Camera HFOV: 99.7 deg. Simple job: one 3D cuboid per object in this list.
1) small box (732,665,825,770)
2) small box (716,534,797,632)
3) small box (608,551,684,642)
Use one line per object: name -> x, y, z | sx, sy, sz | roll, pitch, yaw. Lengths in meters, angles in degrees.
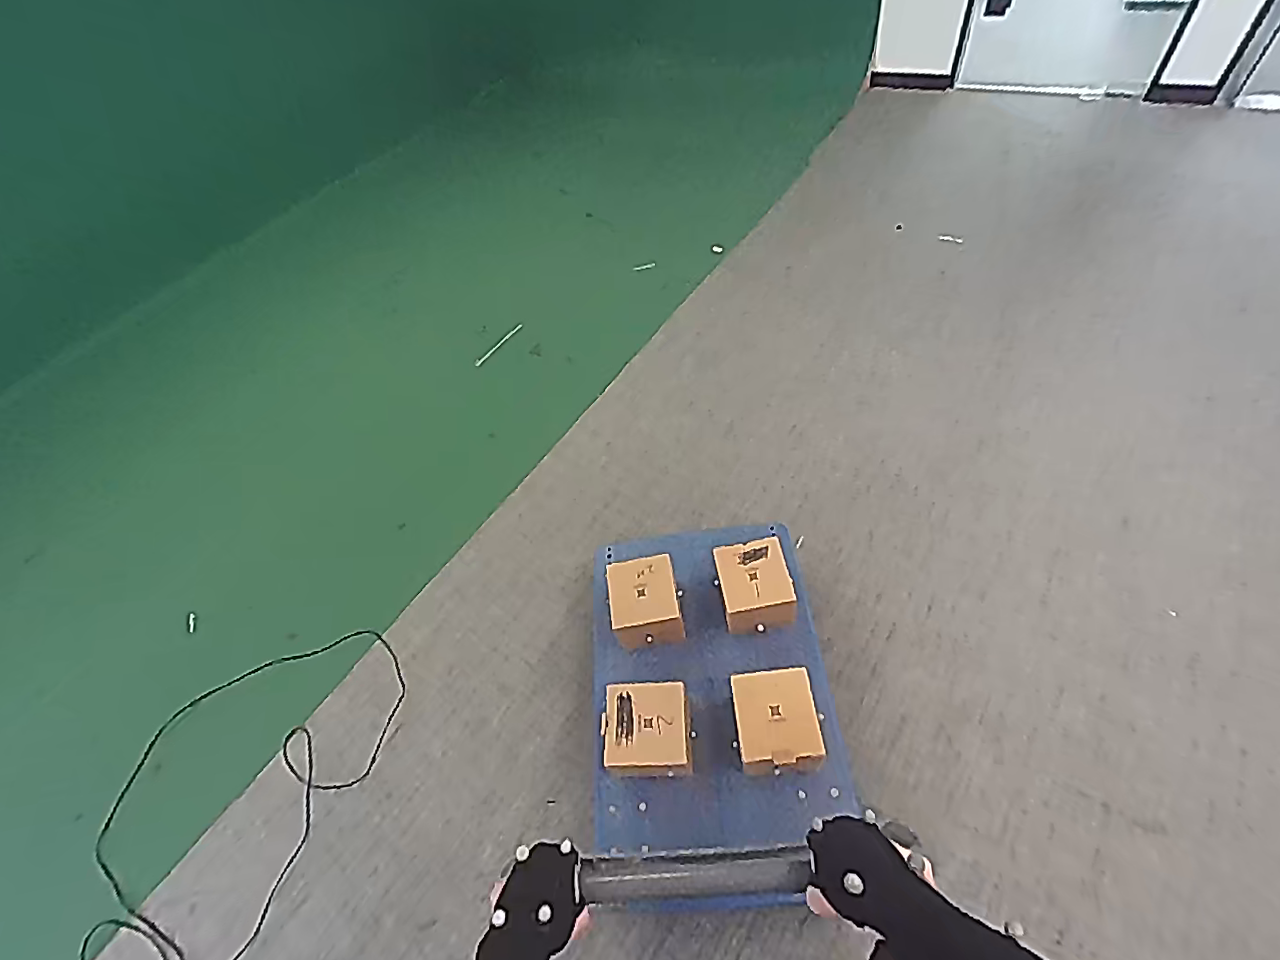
small box -> 0.296, 0.525, 1.190 | 0.168, 0.176, 0.179 | -8, 55, 6
small box -> 0.289, 0.264, 1.372 | 0.168, 0.176, 0.179 | -11, 55, 4
small box -> 0.018, 0.307, 1.397 | 0.168, 0.176, 0.179 | -10, 54, 3
